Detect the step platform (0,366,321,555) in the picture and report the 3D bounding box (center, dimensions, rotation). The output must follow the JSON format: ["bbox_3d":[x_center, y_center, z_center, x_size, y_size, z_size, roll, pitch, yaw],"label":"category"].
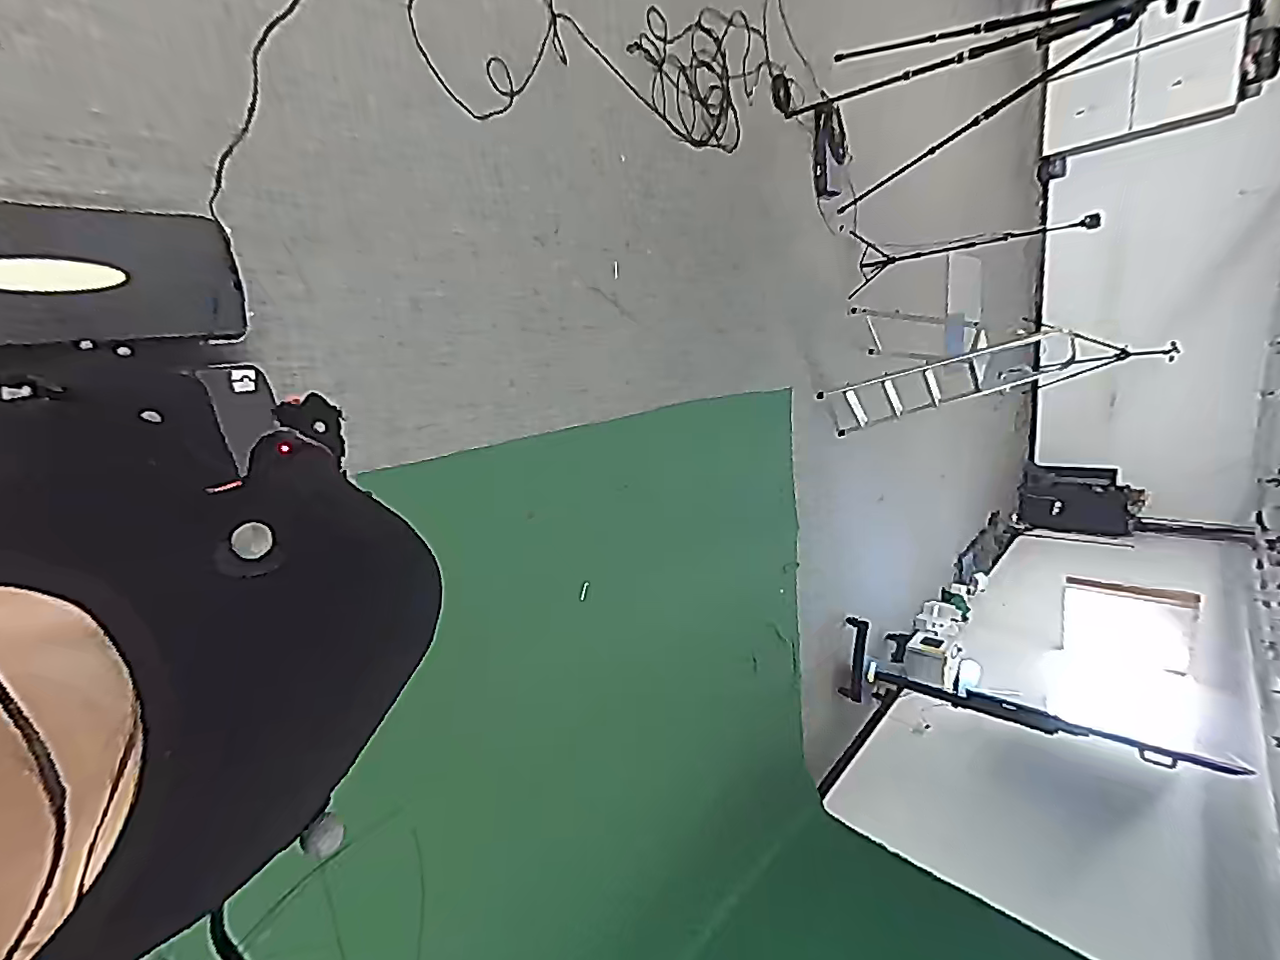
[{"bbox_3d":[-1.010,-0.037,1.006,0.684,0.204,0.286,-19,107,-44],"label":"step platform"}]
